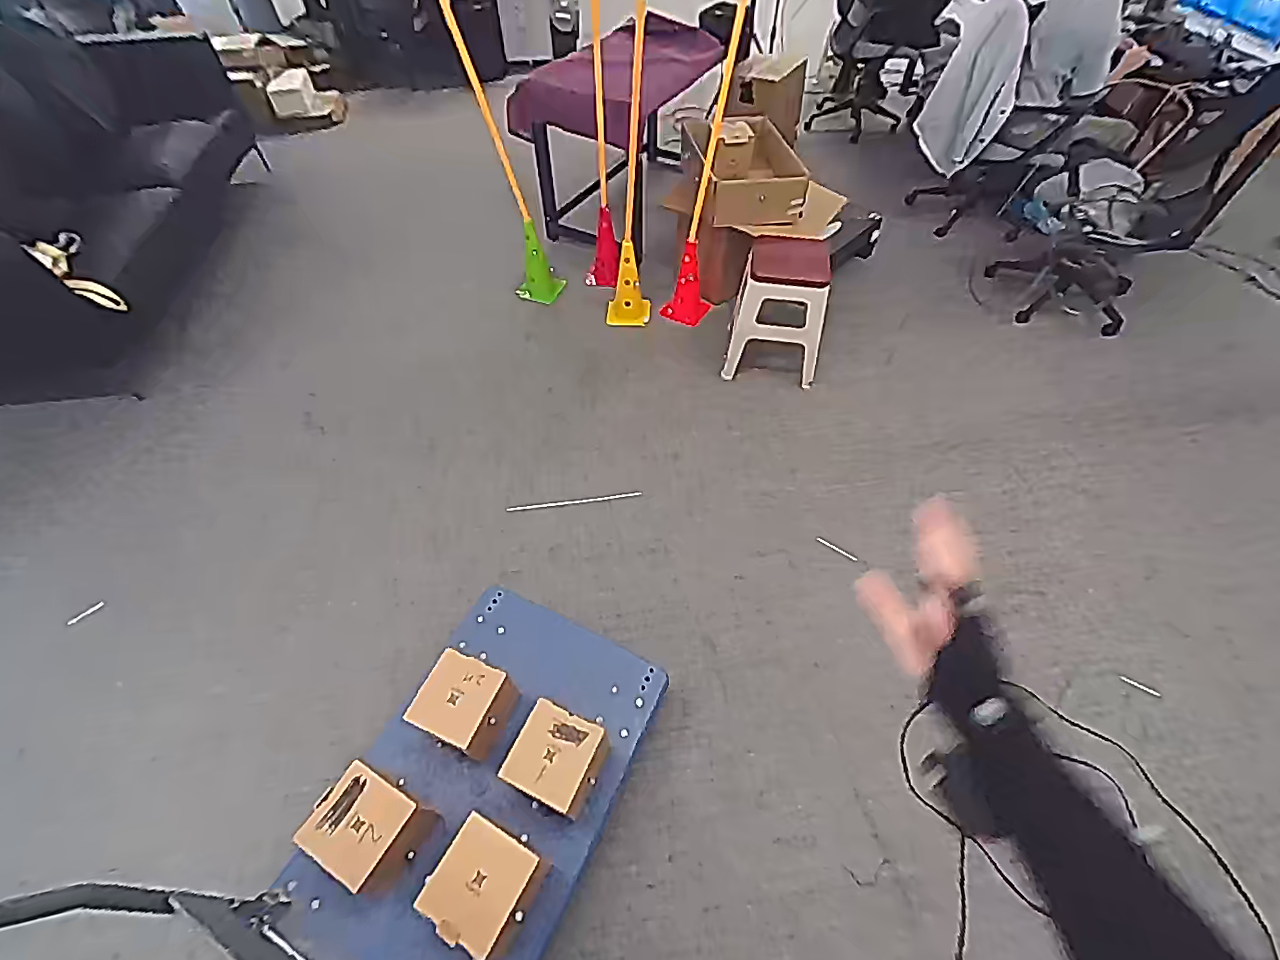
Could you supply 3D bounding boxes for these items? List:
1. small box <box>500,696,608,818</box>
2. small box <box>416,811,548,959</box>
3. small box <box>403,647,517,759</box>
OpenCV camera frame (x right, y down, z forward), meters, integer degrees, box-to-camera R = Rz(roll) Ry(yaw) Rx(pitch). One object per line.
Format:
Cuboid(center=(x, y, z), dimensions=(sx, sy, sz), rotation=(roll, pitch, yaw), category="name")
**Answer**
Cuboid(center=(-0.180, 0.616, 1.195), dimensions=(0.168, 0.176, 0.179), rotation=(20, 57, 16), category="small box")
Cuboid(center=(-0.298, 0.793, 1.067), dimensions=(0.168, 0.176, 0.179), rotation=(23, 58, 17), category="small box")
Cuboid(center=(-0.408, 0.527, 1.265), dimensions=(0.168, 0.176, 0.179), rotation=(18, 56, 13), category="small box")
